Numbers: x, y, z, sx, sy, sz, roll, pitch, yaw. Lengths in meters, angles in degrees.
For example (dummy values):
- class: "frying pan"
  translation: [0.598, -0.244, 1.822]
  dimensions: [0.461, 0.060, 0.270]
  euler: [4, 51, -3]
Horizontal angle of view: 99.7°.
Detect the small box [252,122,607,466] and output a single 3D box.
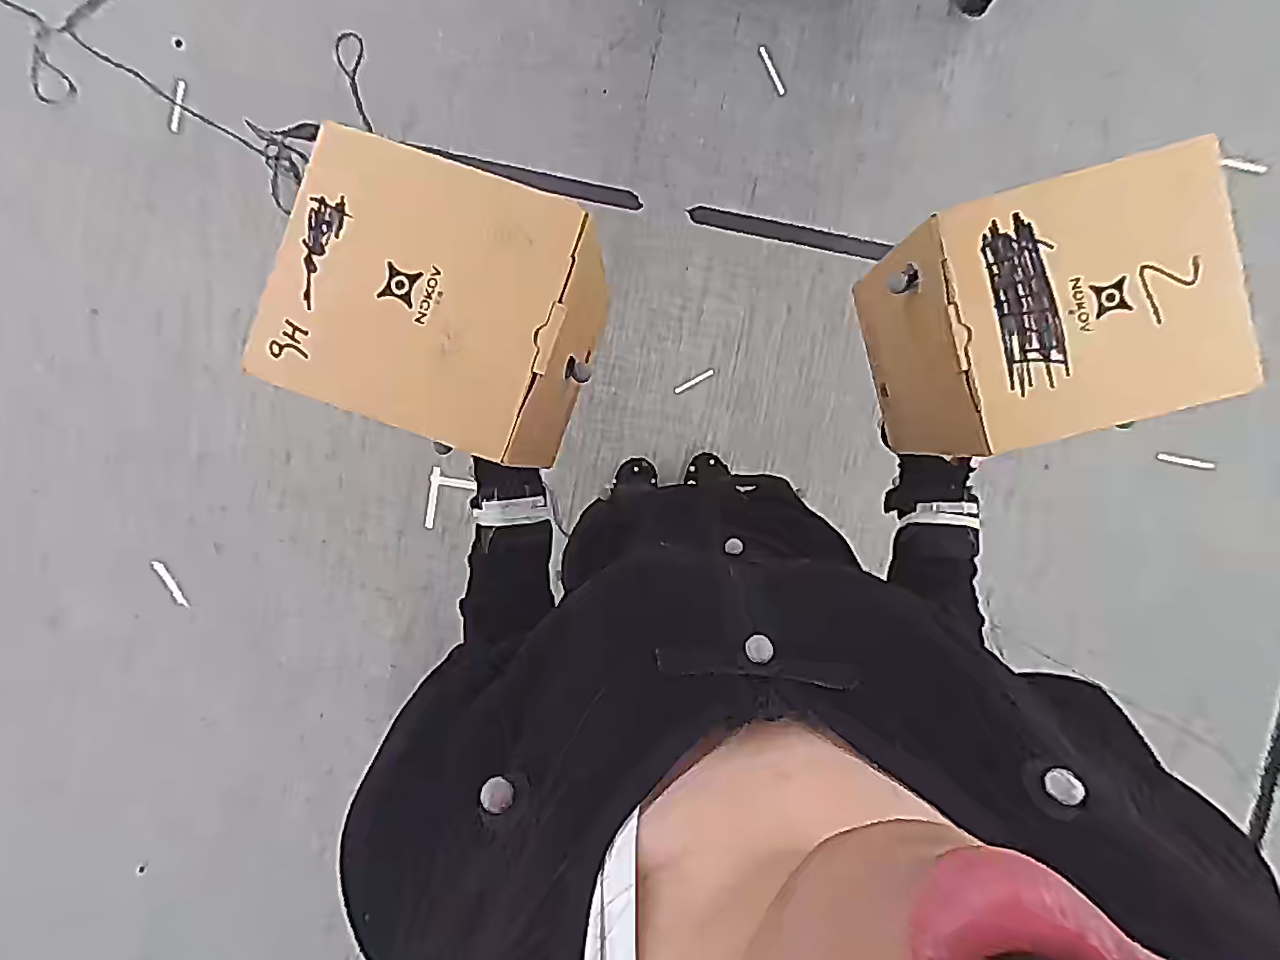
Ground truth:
- class: "small box"
  translation: [-0.131, -0.116, 0.410]
  dimensions: [0.179, 0.176, 0.168]
  euler: [19, 91, 0]
